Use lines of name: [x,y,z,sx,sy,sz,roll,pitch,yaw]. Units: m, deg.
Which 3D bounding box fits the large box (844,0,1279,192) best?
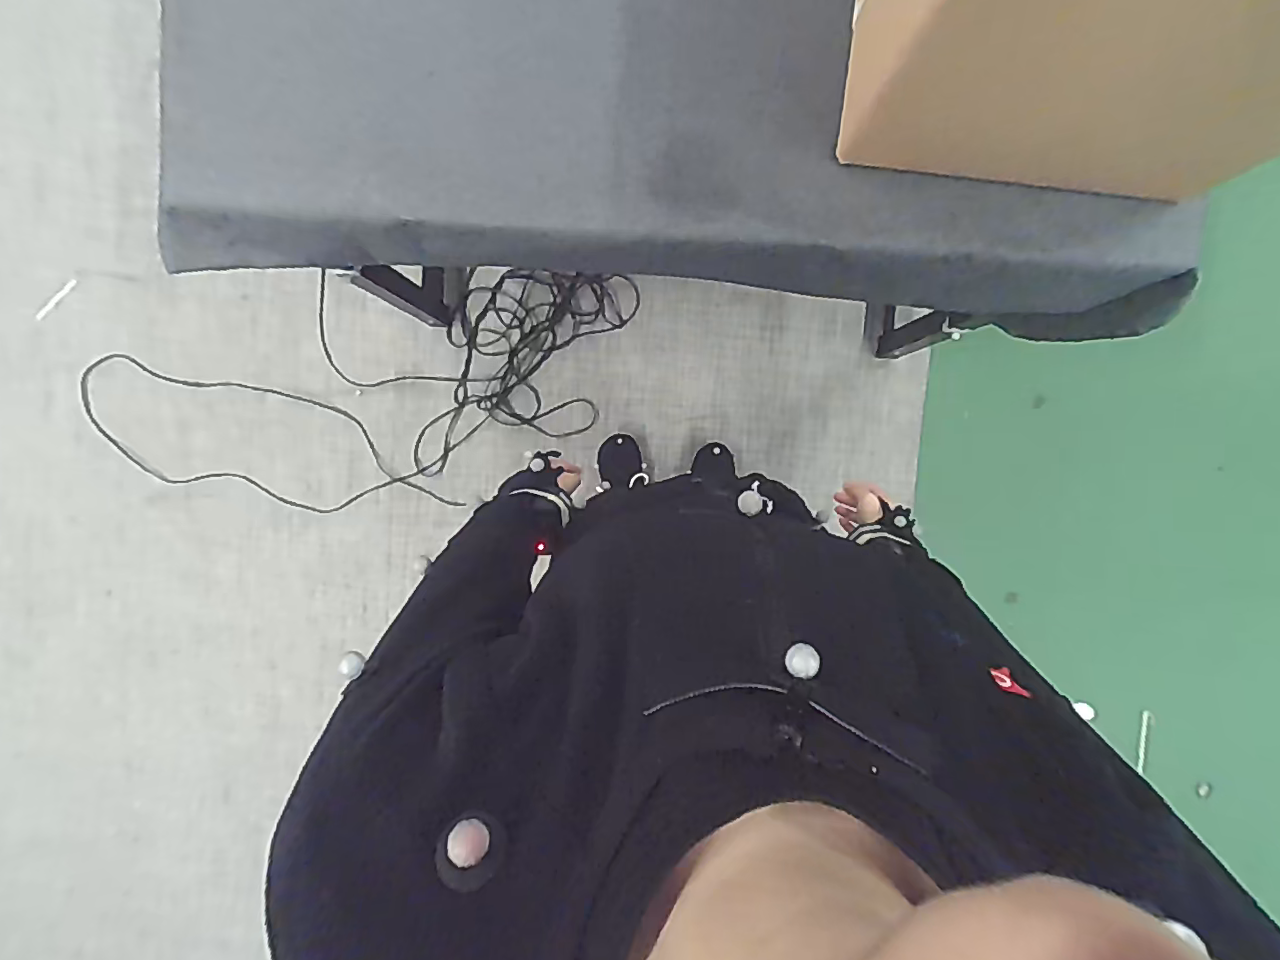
large box: [0.437,-0.487,0.462,0.408,0.320,0.320,6,93,0]
